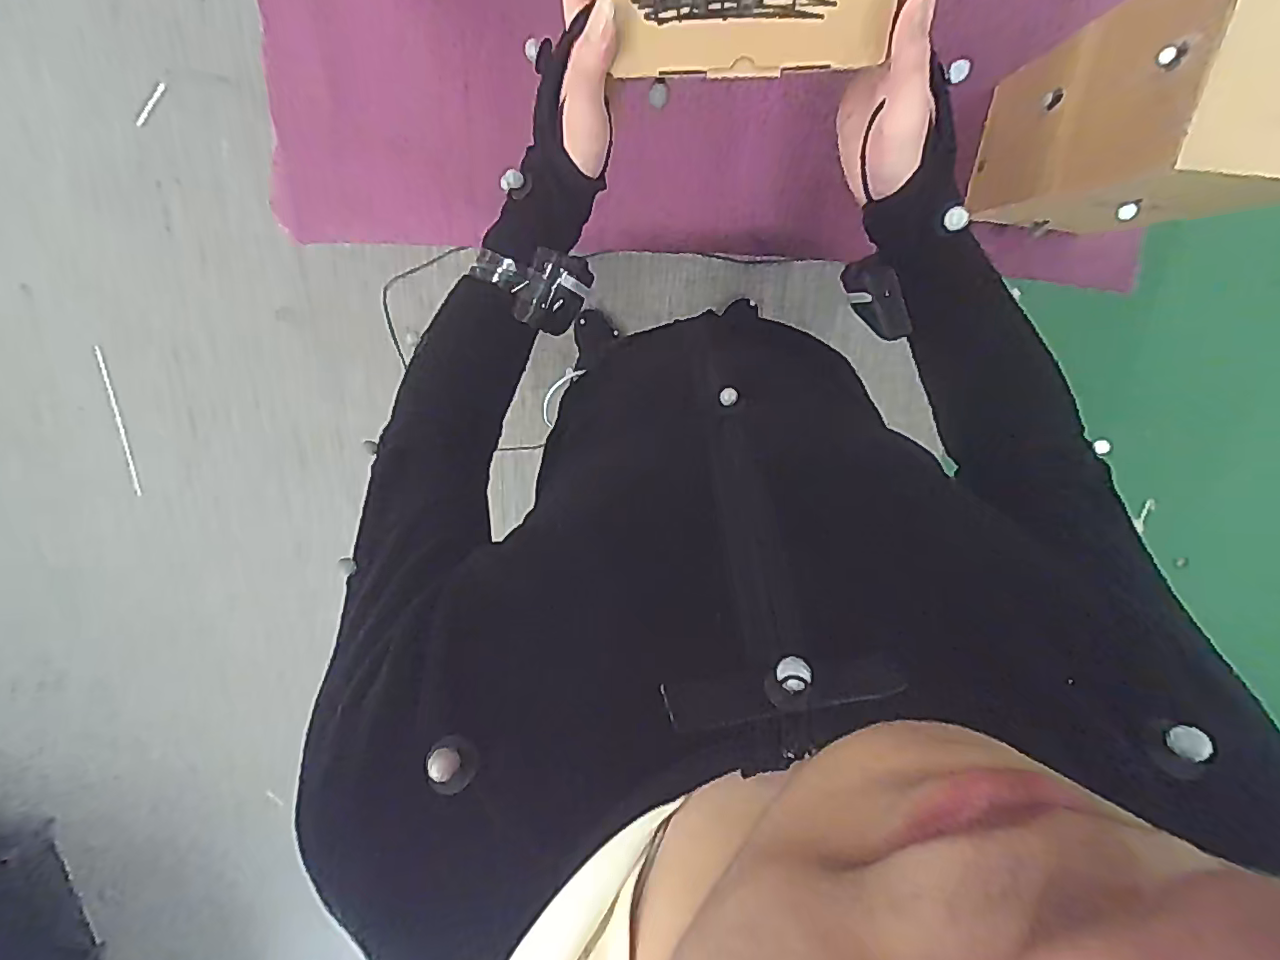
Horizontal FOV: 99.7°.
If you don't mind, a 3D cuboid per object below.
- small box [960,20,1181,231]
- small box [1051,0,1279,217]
[{"bbox_3d":[0.534,-0.406,0.651,0.179,0.176,0.168,7,108,-1],"label":"small box"},{"bbox_3d":[0.531,-0.357,0.496,0.168,0.176,0.179,7,109,2],"label":"small box"}]
